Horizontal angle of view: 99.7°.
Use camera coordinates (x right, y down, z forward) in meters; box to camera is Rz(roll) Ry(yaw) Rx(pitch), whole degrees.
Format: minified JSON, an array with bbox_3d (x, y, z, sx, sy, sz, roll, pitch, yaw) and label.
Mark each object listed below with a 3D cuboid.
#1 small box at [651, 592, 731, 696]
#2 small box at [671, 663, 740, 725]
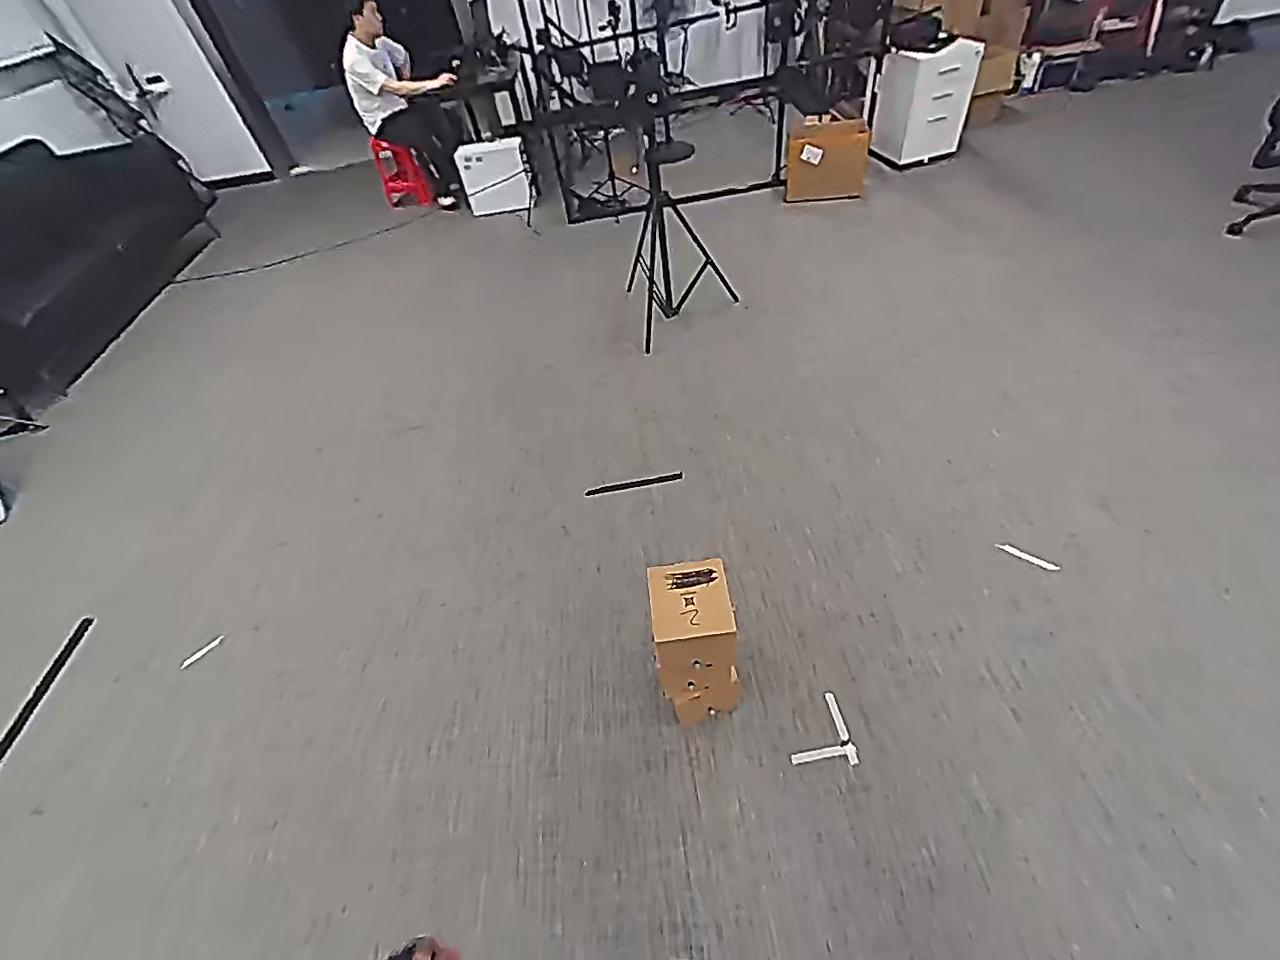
[{"bbox_3d":[0.122,0.396,1.302,0.168,0.176,0.179,-9,48,2],"label":"small box"},{"bbox_3d":[0.150,0.508,1.416,0.168,0.176,0.179,-19,48,-6],"label":"small box"}]
